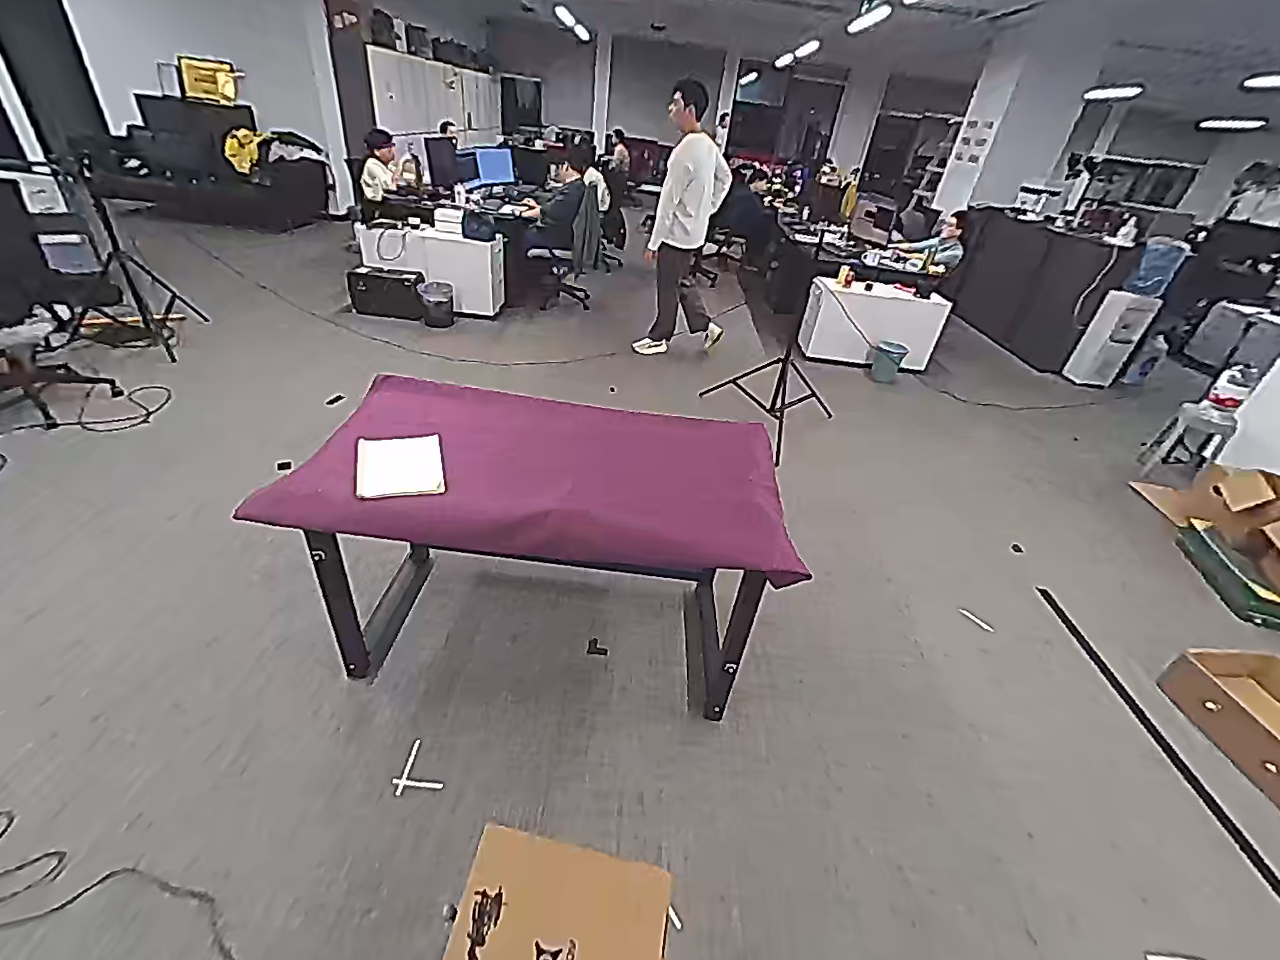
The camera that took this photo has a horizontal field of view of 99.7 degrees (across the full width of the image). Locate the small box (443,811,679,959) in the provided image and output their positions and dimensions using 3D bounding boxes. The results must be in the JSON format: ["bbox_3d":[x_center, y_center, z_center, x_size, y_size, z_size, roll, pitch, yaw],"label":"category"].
[{"bbox_3d":[-0.081,0.422,0.481,0.179,0.176,0.168,17,47,-3],"label":"small box"}]
